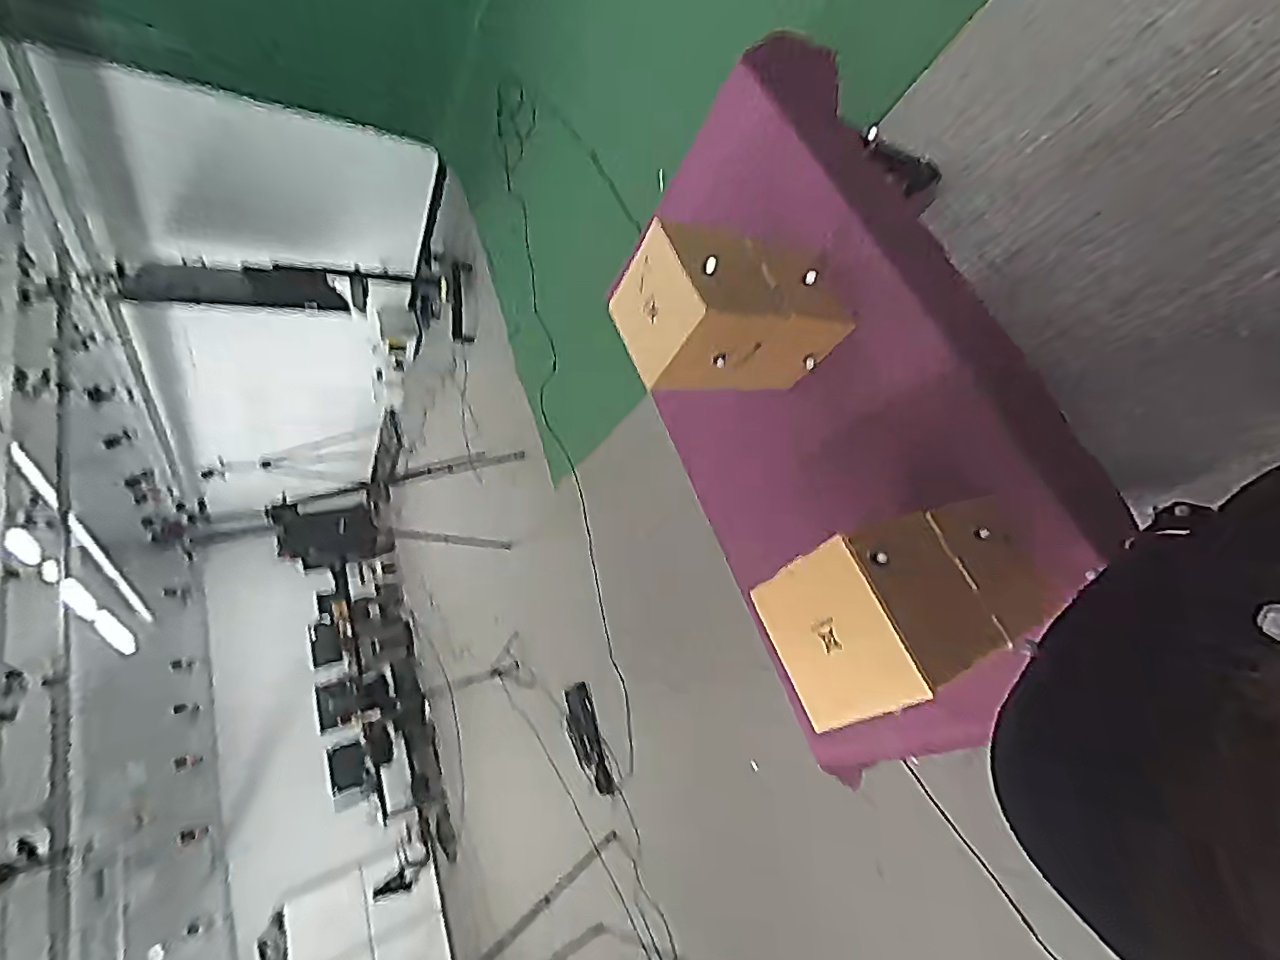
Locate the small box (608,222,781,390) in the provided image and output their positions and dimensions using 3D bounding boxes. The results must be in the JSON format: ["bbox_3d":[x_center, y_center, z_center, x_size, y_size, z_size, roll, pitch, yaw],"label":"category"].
[{"bbox_3d":[0.082,-0.259,0.827,0.168,0.176,0.179,-48,59,47],"label":"small box"}]

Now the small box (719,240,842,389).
[{"bbox_3d":[0.215,-0.274,0.923,0.179,0.176,0.168,-46,59,47],"label":"small box"}]

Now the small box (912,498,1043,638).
[{"bbox_3d":[0.405,0.138,0.739,0.179,0.176,0.168,-49,56,47],"label":"small box"}]

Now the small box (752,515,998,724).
[{"bbox_3d":[0.275,0.159,0.644,0.168,0.176,0.179,-51,54,45],"label":"small box"}]
